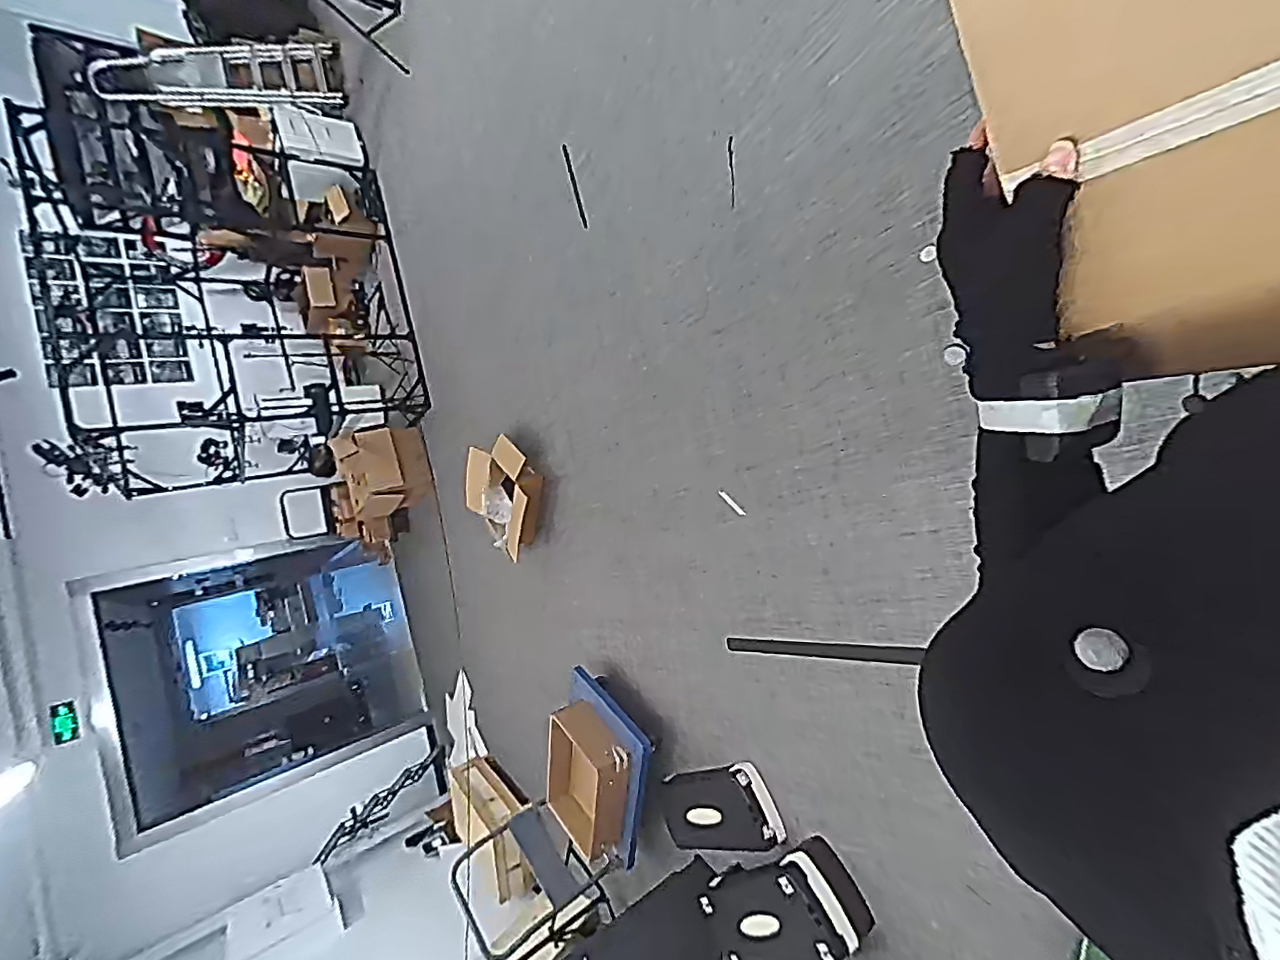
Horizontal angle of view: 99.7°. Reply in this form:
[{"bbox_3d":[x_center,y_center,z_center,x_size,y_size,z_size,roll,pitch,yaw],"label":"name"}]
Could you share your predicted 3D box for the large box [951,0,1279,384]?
[{"bbox_3d":[0.448,-0.289,0.263,0.408,0.320,0.320,-2,131,54],"label":"large box"}]
